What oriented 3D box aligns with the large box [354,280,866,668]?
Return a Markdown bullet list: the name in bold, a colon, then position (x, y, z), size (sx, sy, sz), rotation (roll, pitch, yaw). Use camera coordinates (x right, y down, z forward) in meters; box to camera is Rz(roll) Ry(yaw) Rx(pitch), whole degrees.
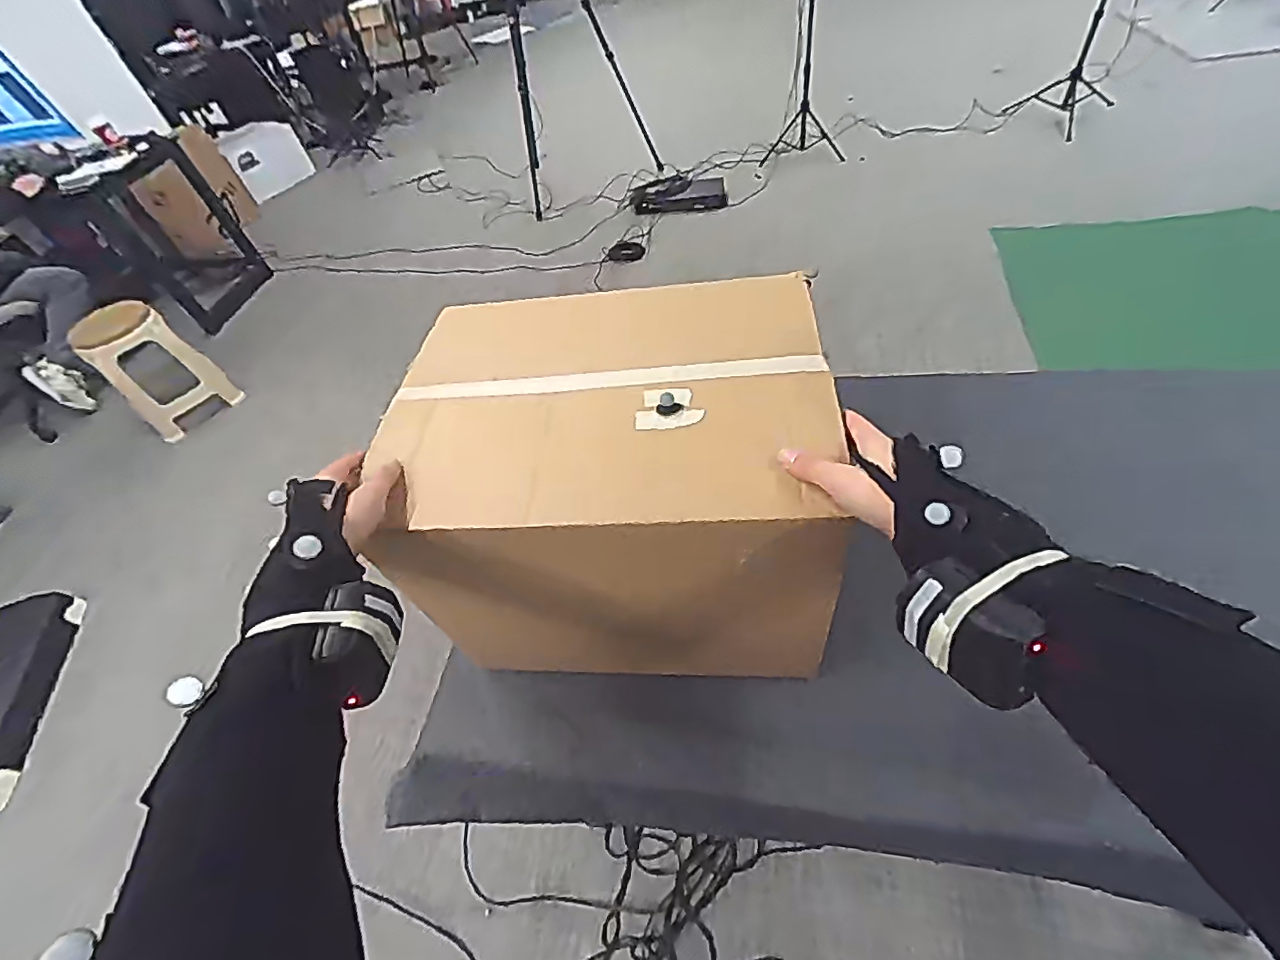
- **large box**: position (-0.009, 0.008, 0.613), size (0.408, 0.320, 0.320), rotation (-2, 51, 8)
